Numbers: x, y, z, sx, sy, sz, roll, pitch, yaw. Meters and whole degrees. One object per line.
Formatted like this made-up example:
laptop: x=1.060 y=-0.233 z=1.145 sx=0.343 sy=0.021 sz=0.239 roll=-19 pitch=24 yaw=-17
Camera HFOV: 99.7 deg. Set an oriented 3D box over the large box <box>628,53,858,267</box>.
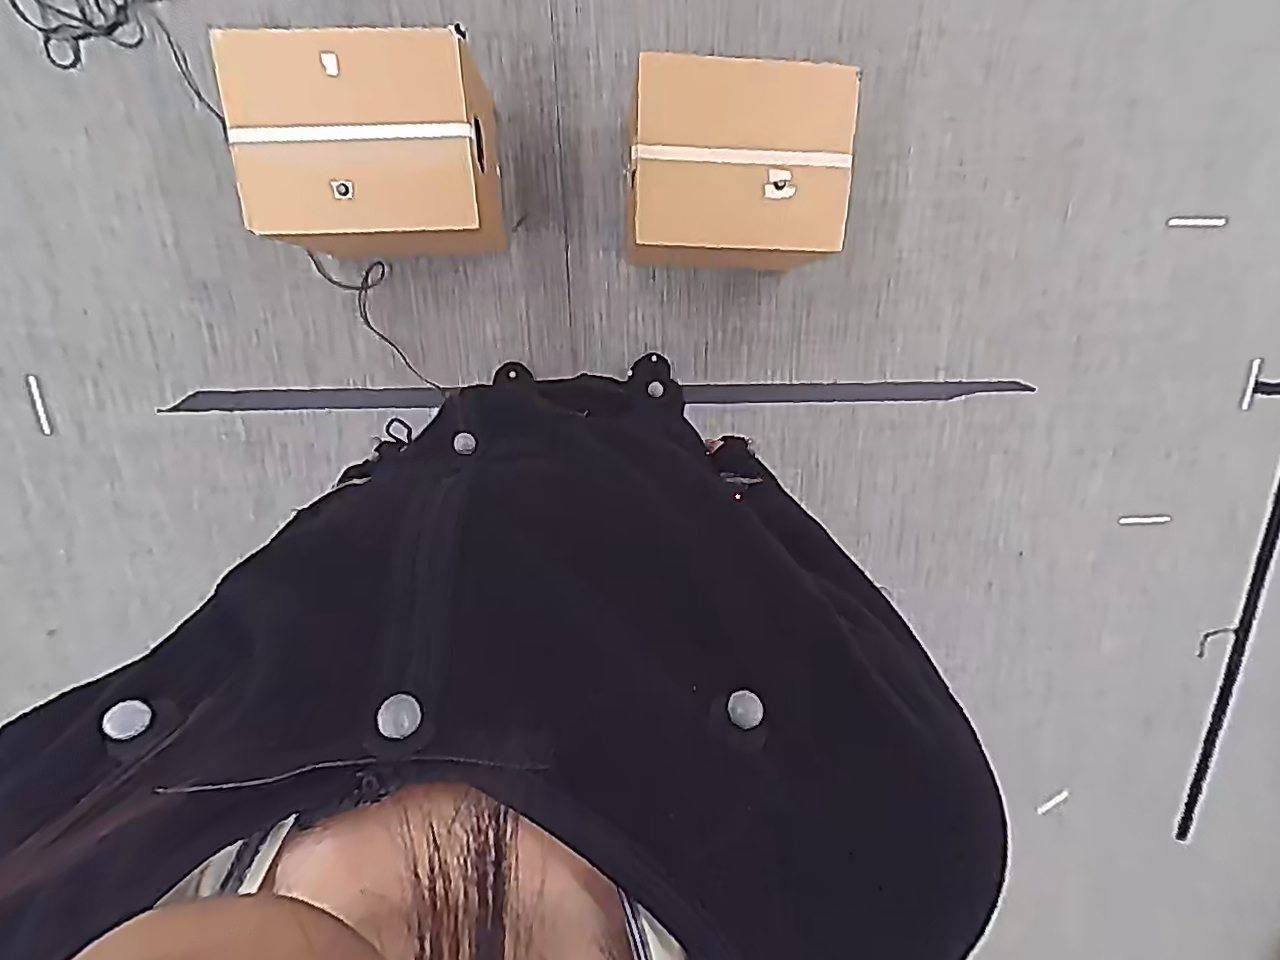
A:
large box: x=0.183 y=-0.637 z=1.143 sx=0.408 sy=0.320 sz=0.320 roll=0 pitch=105 yaw=-5
